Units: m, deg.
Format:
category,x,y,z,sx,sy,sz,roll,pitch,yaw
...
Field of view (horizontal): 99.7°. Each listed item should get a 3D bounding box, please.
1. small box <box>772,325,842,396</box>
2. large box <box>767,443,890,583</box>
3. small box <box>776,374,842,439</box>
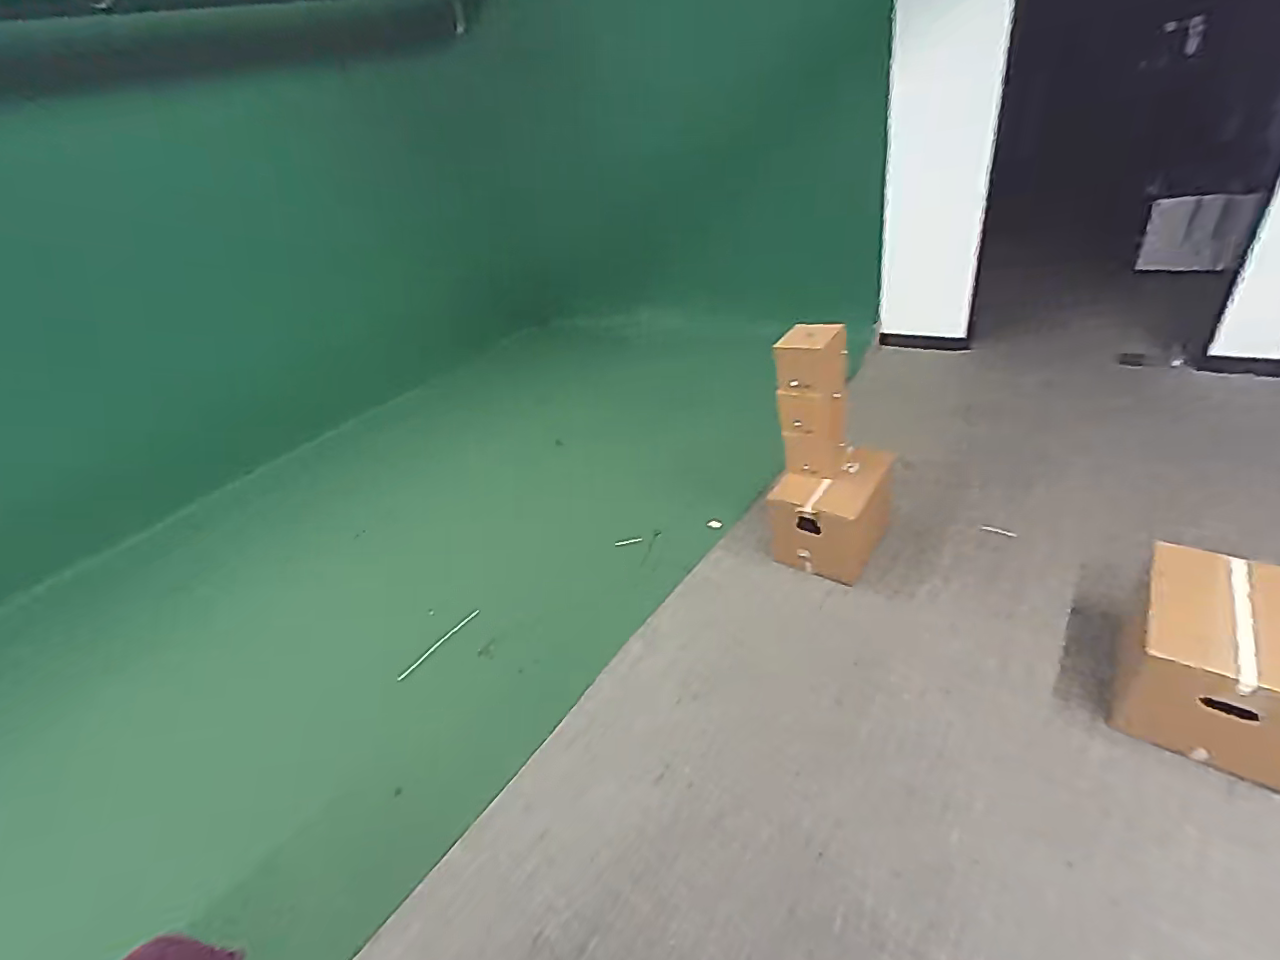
category,x,y,z,sx,sy,sz,roll,pitch,yaw
small box,0.557,-0.397,1.786,0.168,0.176,0.179,14,45,40
large box,0.711,0.112,2.017,0.320,0.320,0.408,15,43,37
small box,0.590,-0.263,1.872,0.168,0.176,0.179,12,44,38
